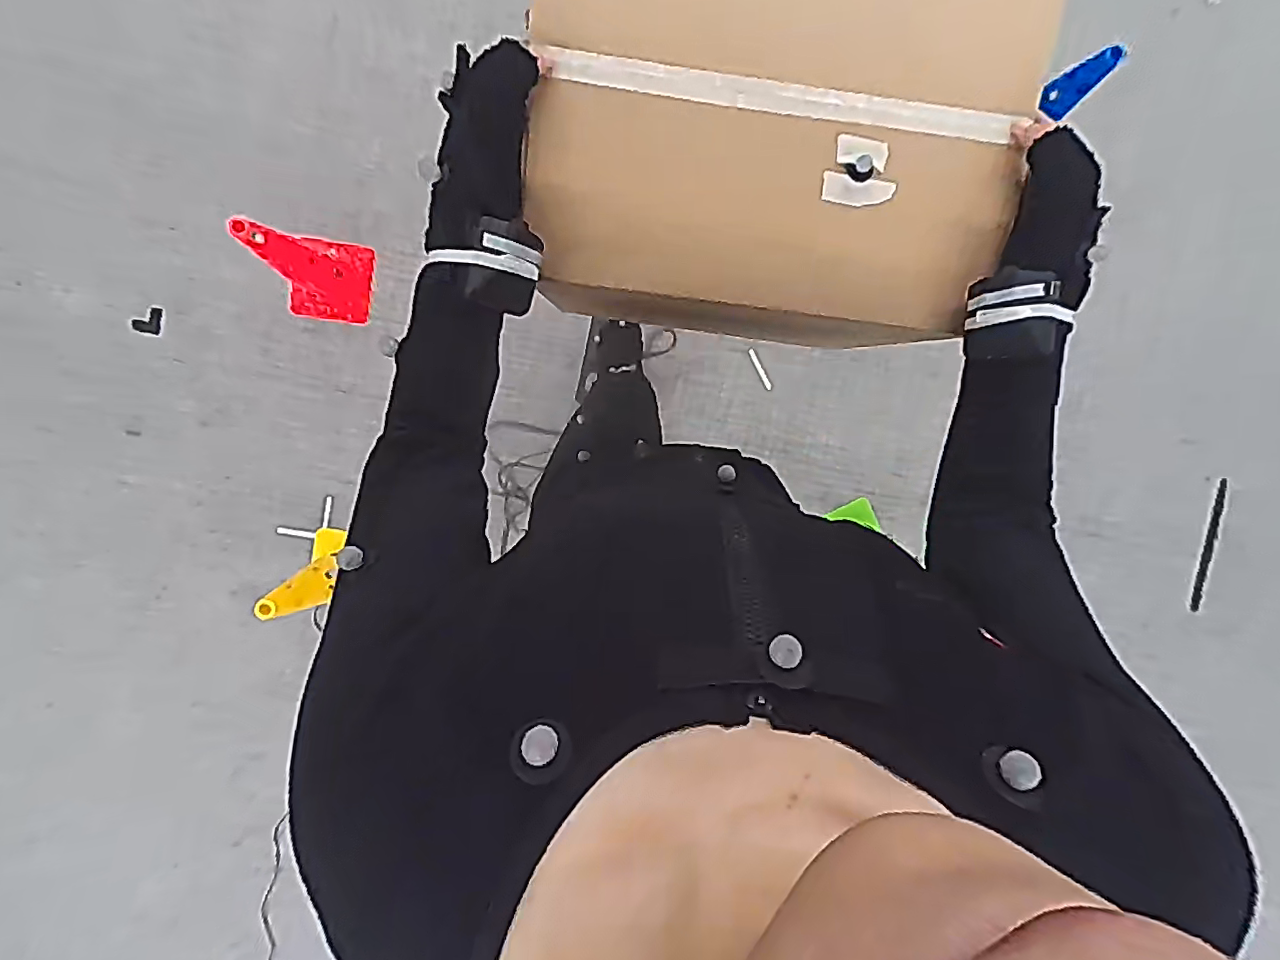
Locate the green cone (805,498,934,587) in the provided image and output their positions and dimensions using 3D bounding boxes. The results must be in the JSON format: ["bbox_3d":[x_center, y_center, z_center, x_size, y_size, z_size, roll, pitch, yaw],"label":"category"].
[{"bbox_3d":[0.590,0.186,1.328,0.202,0.368,0.200,-26,95,-2],"label":"green cone"}]

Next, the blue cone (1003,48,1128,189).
[{"bbox_3d":[0.963,-0.883,1.291,0.192,0.380,0.193,14,93,-5],"label":"blue cone"}]

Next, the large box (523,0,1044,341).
[{"bbox_3d":[0.105,-0.336,0.580,0.408,0.320,0.320,6,101,-4],"label":"large box"}]

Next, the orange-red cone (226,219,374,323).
[{"bbox_3d":[-0.783,-0.497,1.214,0.198,0.360,0.199,9,95,-2],"label":"orange-red cone"}]
